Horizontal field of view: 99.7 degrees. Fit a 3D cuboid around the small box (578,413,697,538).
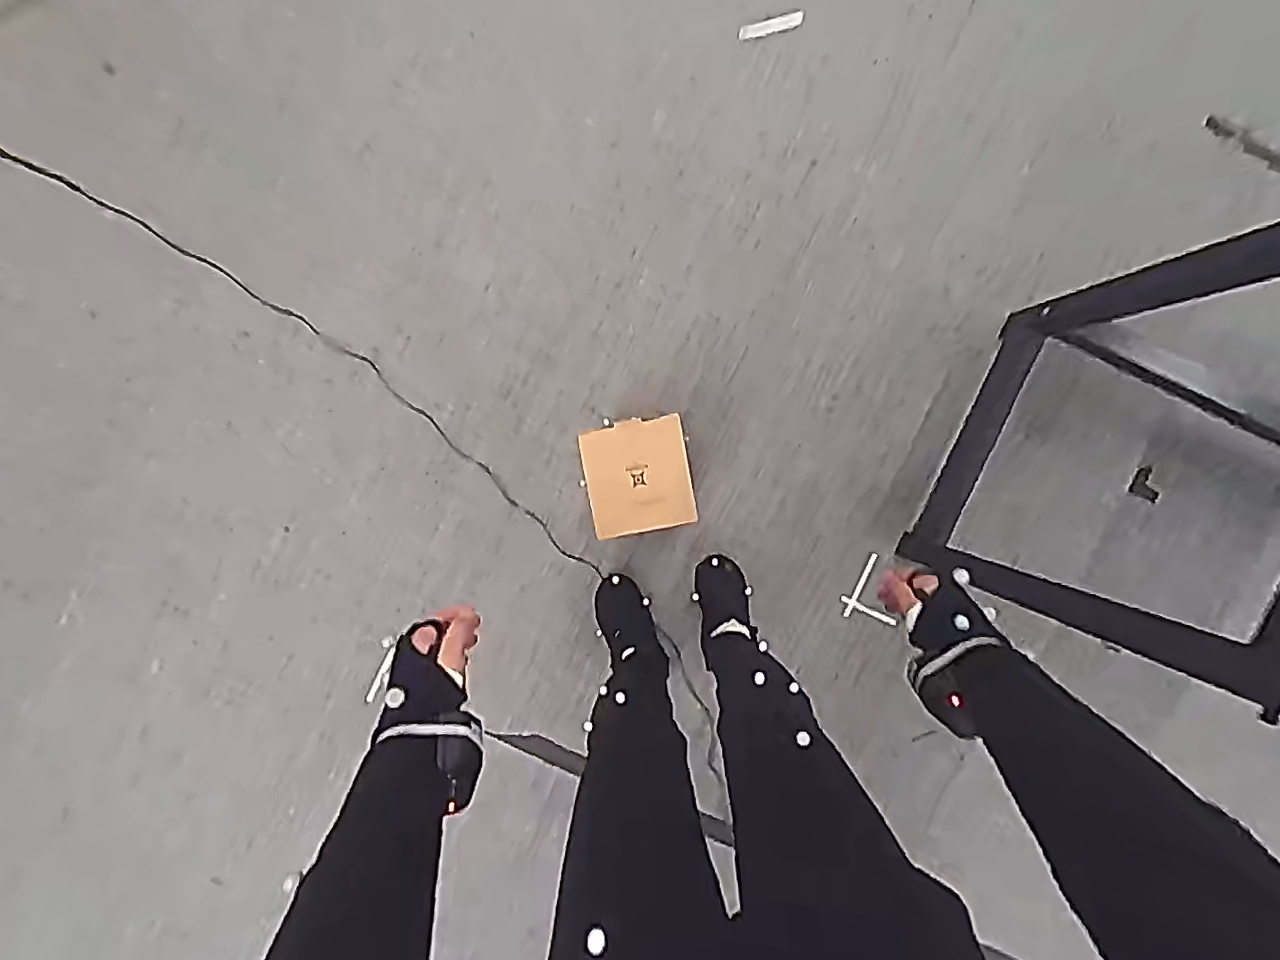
[{"bbox_3d":[-0.005,-0.011,0.933,0.168,0.176,0.179,-11,95,1],"label":"small box"}]
